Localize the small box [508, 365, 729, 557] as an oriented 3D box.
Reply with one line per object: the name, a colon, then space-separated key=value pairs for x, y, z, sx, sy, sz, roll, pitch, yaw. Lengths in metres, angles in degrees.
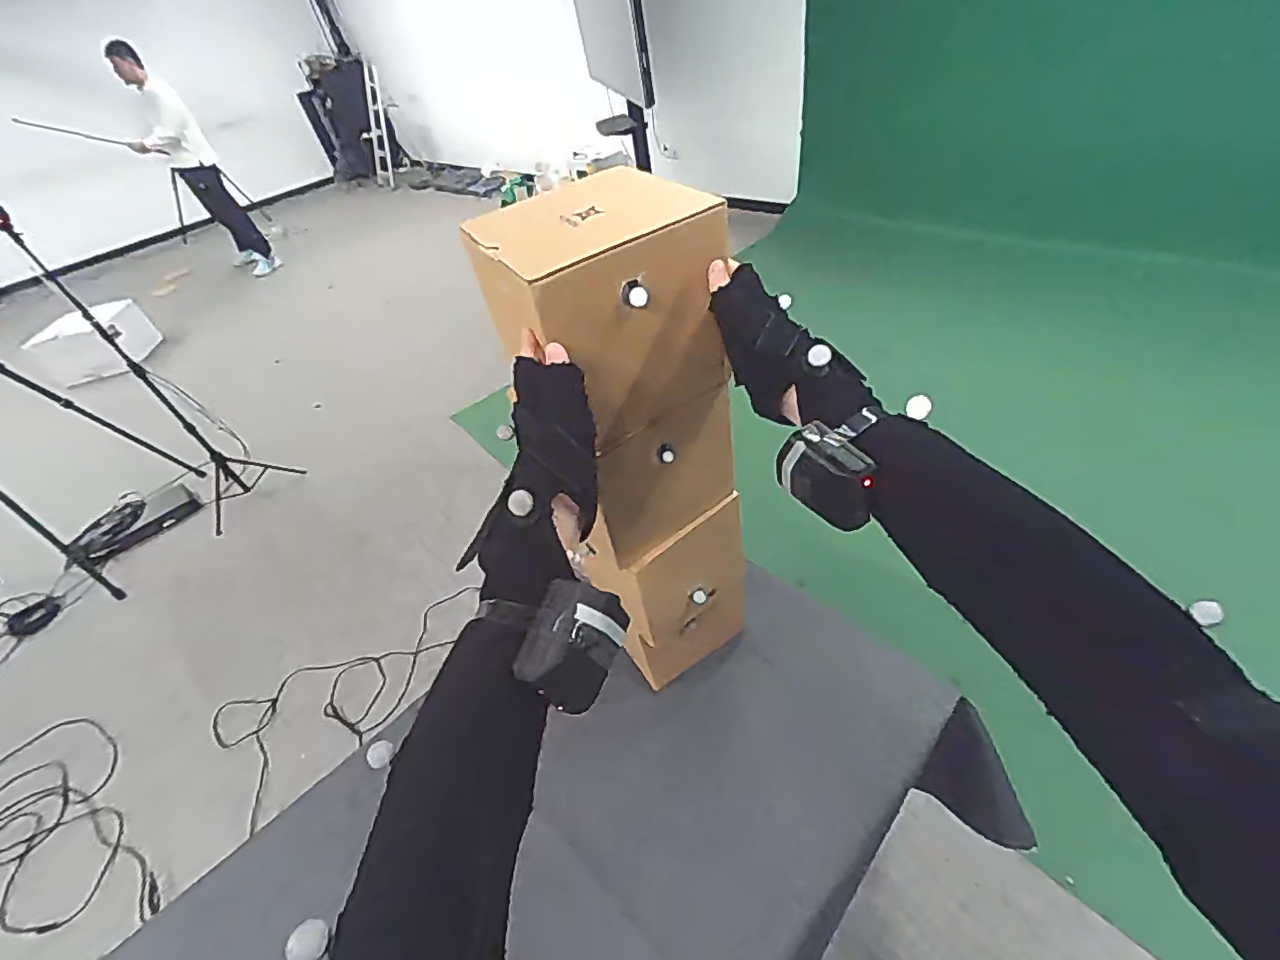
small box: x=-0.015 y=-0.046 z=0.607 sx=0.179 sy=0.176 sz=0.168 roll=-32 pitch=48 yaw=-19

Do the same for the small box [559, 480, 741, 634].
small box: x=0.016 y=0.068 z=0.719 sx=0.168 sy=0.176 sz=0.179 roll=-34 pitch=48 yaw=-20

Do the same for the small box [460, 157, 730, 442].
small box: x=-0.033 y=-0.167 z=0.499 sx=0.179 sy=0.176 sz=0.168 roll=-30 pitch=47 yaw=-15

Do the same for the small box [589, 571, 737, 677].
small box: x=0.038 y=0.171 z=0.845 sx=0.179 sy=0.176 sz=0.168 roll=-29 pitch=46 yaw=-17
